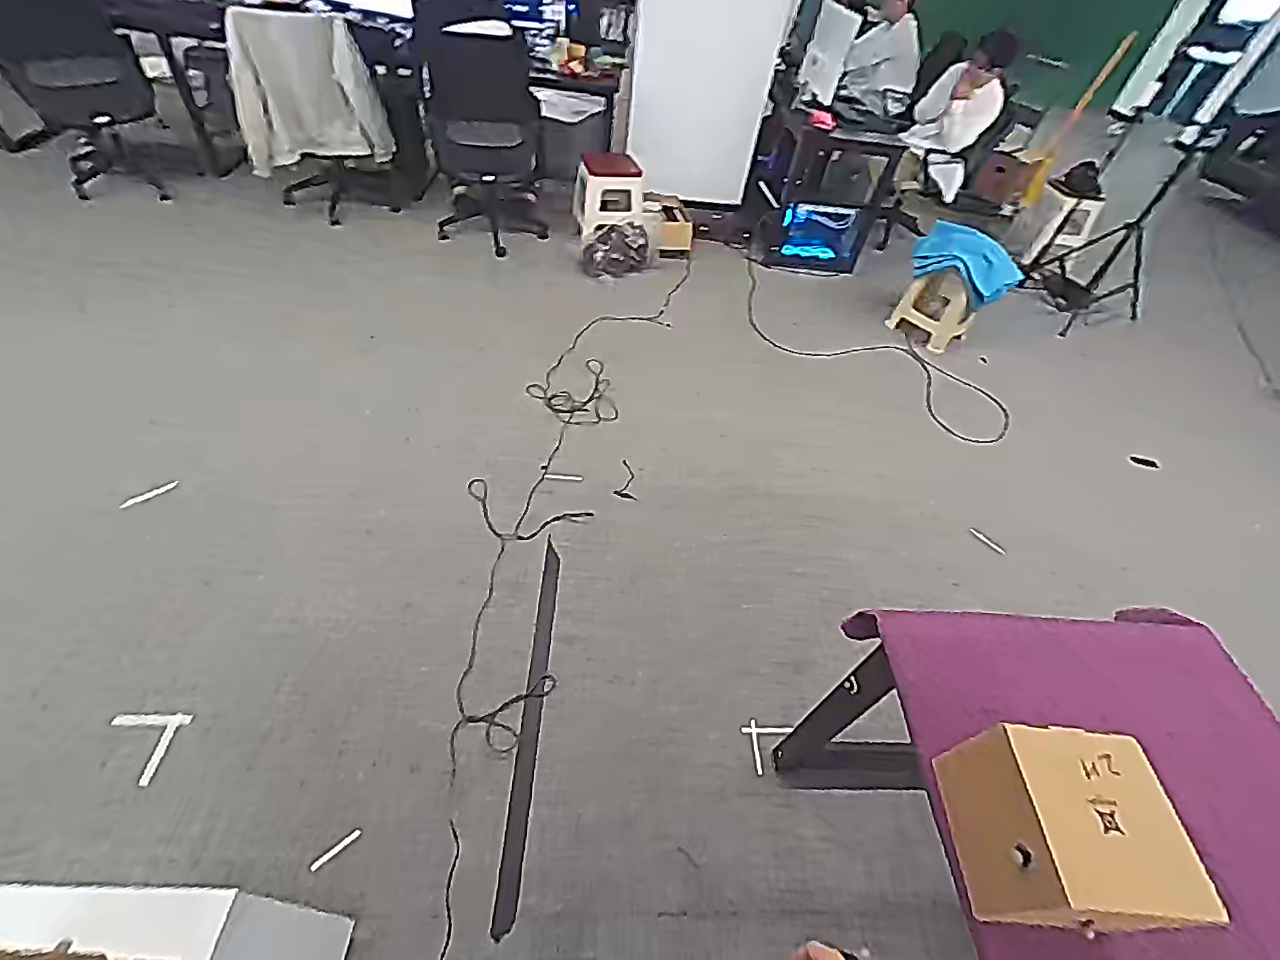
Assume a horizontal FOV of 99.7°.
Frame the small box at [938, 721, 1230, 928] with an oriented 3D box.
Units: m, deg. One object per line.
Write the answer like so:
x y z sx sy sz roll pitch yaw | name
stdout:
0.493 0.409 0.638 0.168 0.176 0.179 7 47 -3 | small box
